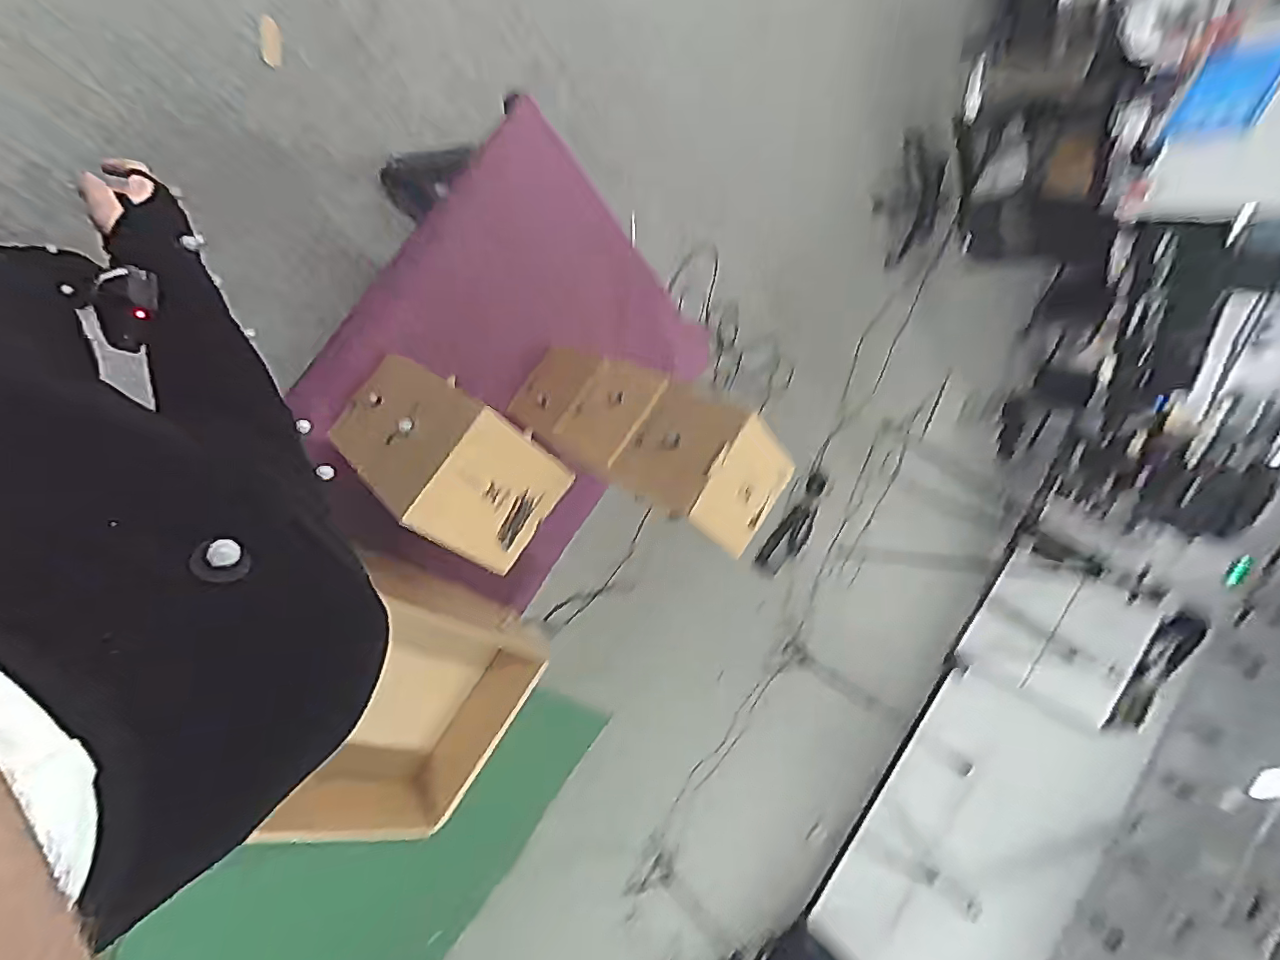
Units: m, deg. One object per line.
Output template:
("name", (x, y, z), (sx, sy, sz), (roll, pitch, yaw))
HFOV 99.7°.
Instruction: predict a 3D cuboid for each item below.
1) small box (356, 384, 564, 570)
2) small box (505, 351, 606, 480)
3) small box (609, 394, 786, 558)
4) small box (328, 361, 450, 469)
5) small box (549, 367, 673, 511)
("small box", (-0.246, -0.009, 0.742), (0.168, 0.176, 0.179), (-54, 138, -8))
("small box", (-0.125, -0.130, 1.043), (0.168, 0.176, 0.179), (-54, 137, -6))
("small box", (0.085, -0.013, 0.823), (0.168, 0.176, 0.179), (-55, 137, -5))
("small box", (-0.351, -0.069, 0.852), (0.168, 0.176, 0.179), (-54, 138, -7))
("small box", (-0.022, -0.075, 0.930), (0.168, 0.176, 0.179), (-55, 138, -6))
